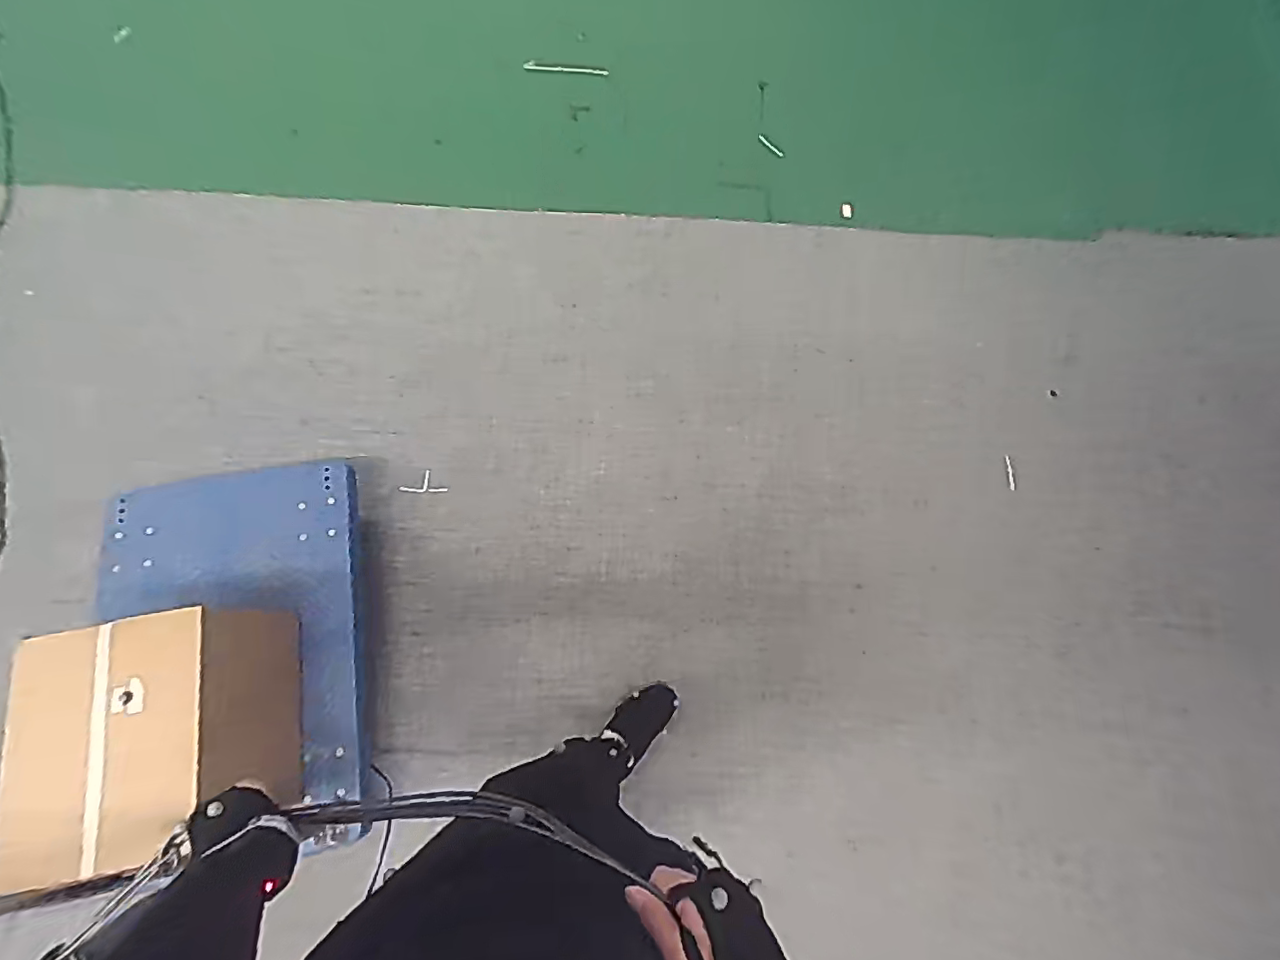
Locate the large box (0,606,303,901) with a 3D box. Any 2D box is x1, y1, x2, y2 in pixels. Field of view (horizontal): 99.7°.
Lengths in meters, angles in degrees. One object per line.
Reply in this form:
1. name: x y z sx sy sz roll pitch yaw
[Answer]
1. large box: -0.894 0.484 1.043 0.320 0.320 0.408 -10 73 -5
